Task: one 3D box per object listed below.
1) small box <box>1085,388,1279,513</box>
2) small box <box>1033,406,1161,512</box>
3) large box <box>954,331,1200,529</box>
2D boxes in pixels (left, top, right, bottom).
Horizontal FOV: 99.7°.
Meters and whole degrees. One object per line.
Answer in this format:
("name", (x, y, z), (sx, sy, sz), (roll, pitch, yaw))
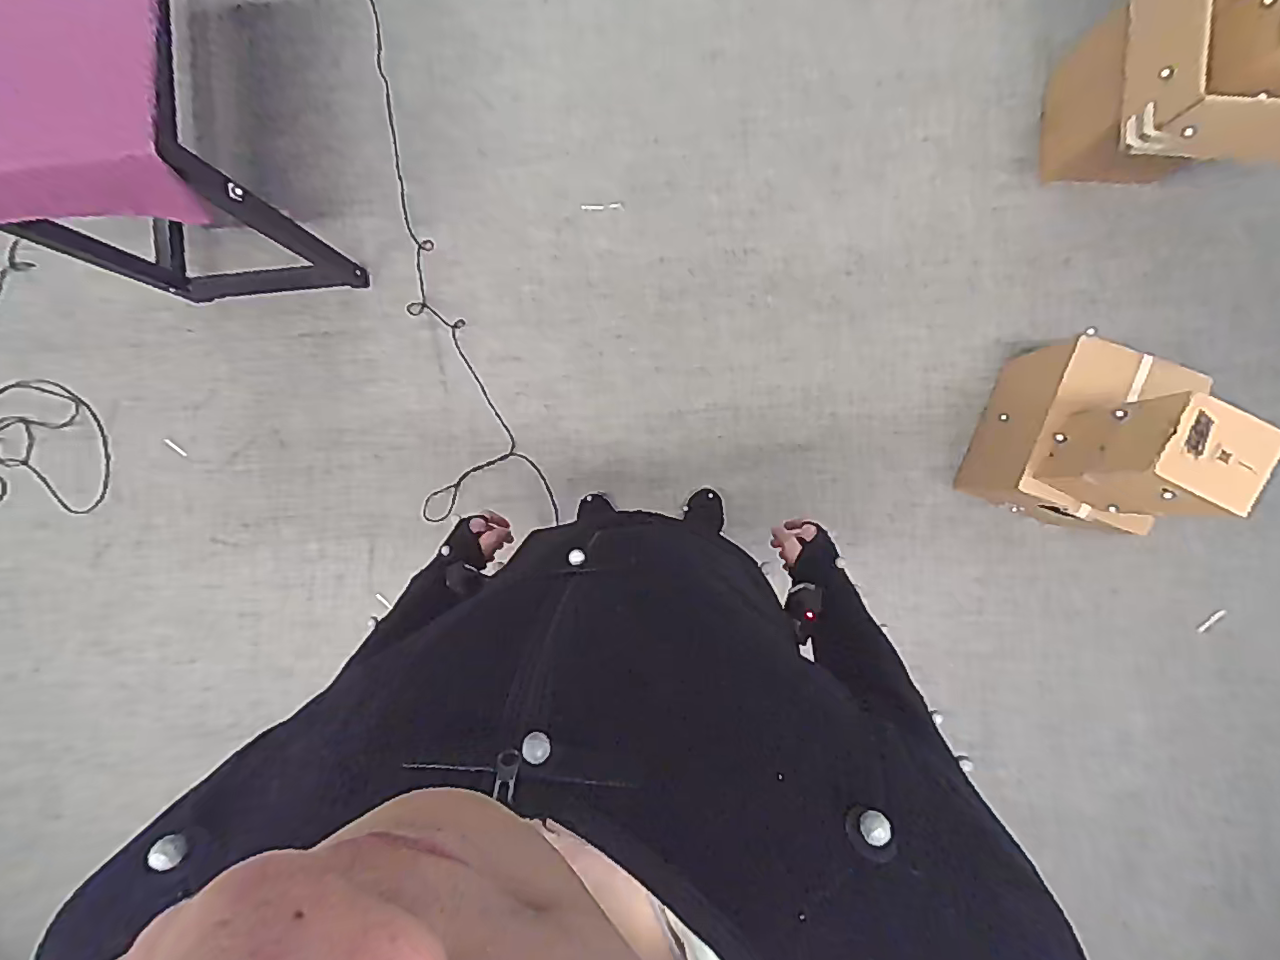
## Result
("small box", (1.012, -0.050, 1.025), (0.179, 0.176, 0.168), (28, 92, 3))
("small box", (1.028, -0.045, 1.188), (0.179, 0.176, 0.168), (28, 92, 4))
("large box", (1.113, -0.116, 1.427), (0.320, 0.320, 0.408), (21, 91, 2))
